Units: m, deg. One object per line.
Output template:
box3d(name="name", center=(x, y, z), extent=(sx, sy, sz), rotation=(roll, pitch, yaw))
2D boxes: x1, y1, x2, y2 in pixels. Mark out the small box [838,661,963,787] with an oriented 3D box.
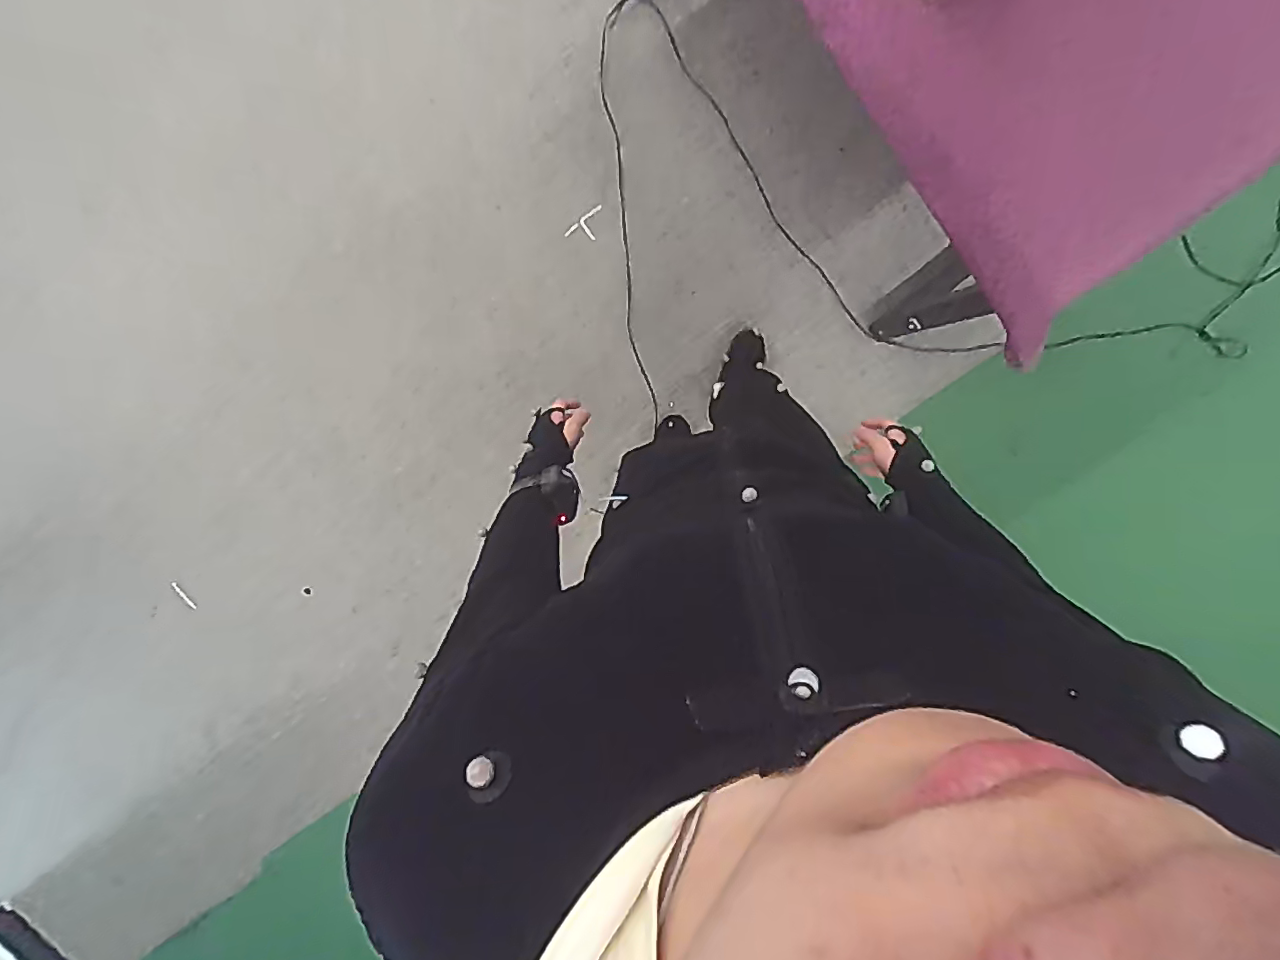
box3d(name="small box", center=(0.603, 0.565, 1.276), extent=(0.179, 0.176, 0.168), rotation=(-40, 94, 9))
